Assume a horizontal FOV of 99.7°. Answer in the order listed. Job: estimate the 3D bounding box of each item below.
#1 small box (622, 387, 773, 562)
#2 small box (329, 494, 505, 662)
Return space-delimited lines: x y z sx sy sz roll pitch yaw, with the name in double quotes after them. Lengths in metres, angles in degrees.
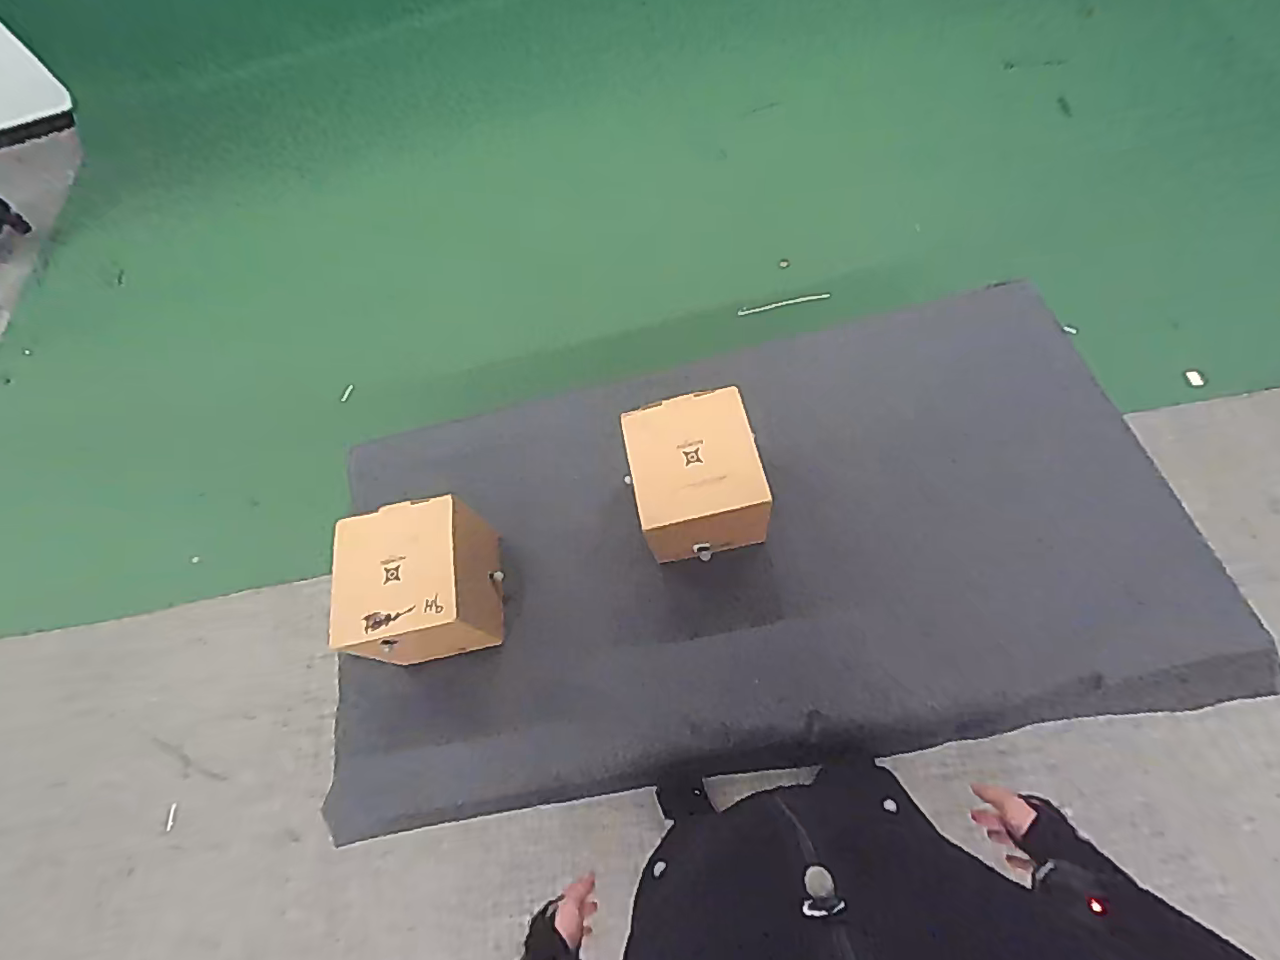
0.080 0.000 0.769 0.168 0.176 0.179 -14 66 4 "small box"
-0.301 0.145 0.762 0.168 0.176 0.179 -13 64 4 "small box"
